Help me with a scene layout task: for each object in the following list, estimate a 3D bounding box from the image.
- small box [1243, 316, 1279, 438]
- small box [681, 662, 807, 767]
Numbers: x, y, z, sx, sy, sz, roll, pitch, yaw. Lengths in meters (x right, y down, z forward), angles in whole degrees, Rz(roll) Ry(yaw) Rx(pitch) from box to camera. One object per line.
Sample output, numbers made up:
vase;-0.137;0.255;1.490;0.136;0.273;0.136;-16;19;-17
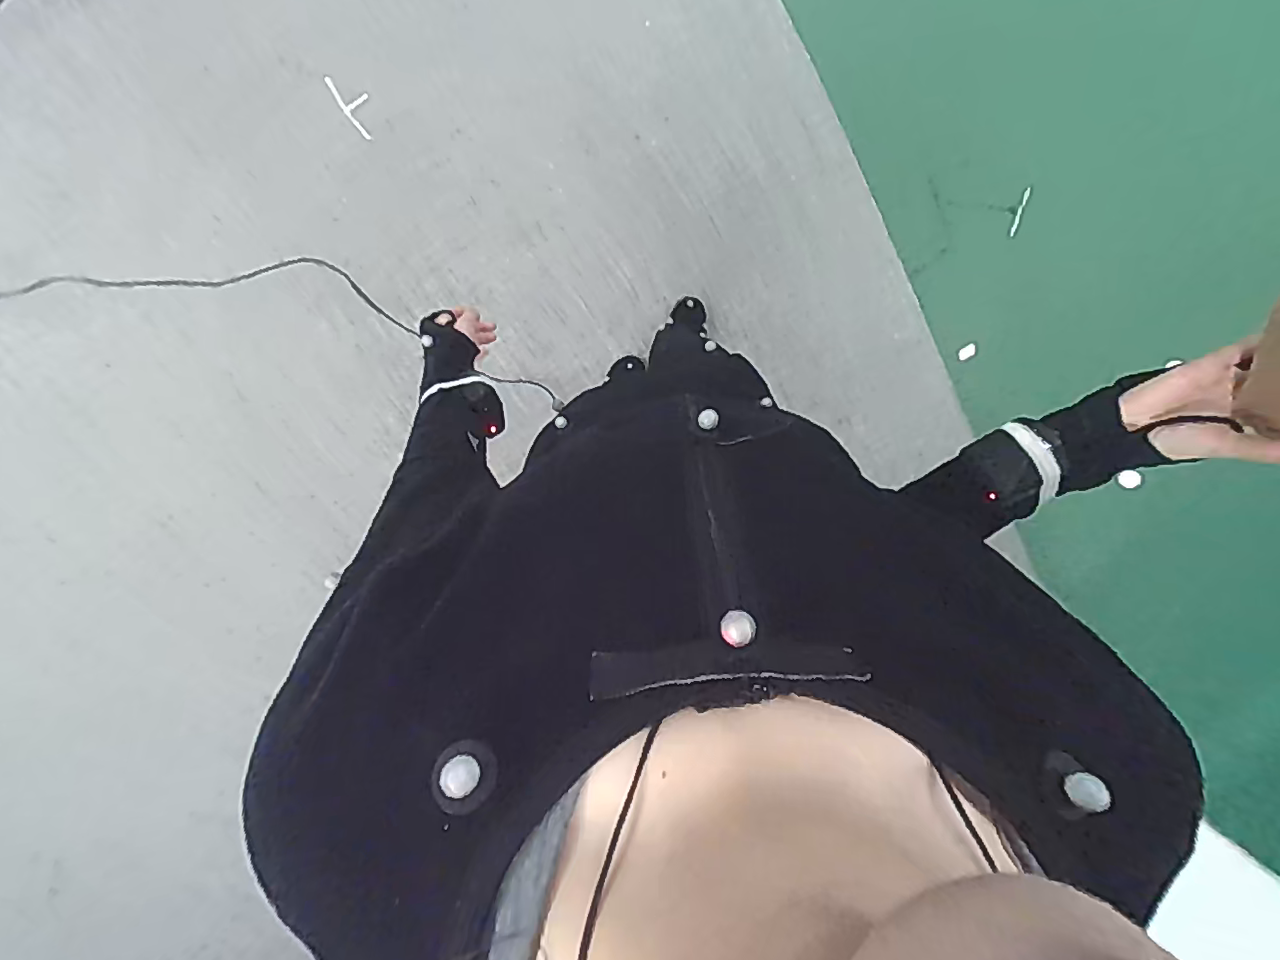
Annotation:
small box;0.464;-0.058;0.258;0.168;0.179;0.176;-34;142;27
small box;0.203;0.508;1.103;0.179;0.176;0.168;-29;102;1
